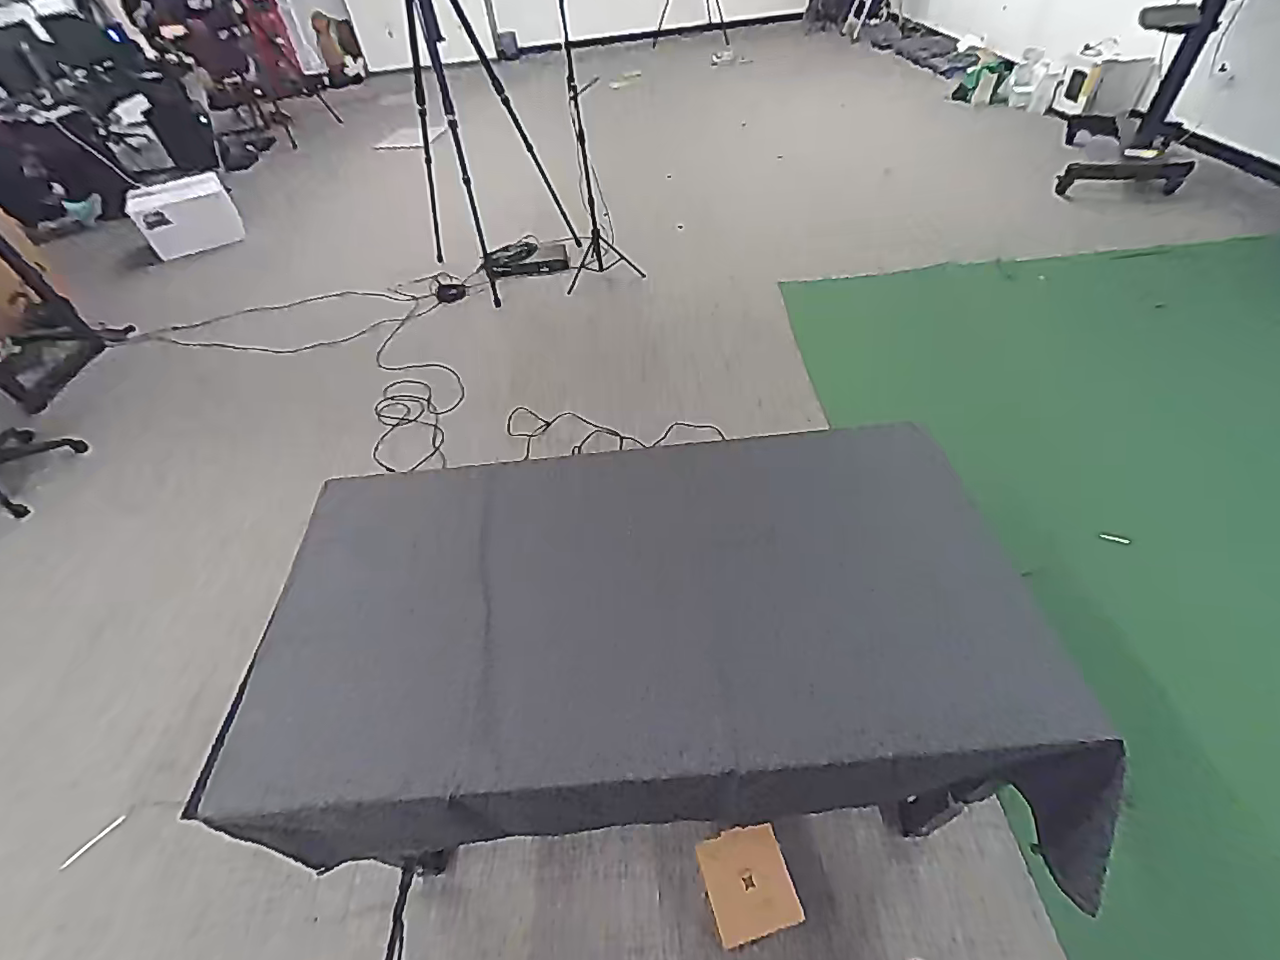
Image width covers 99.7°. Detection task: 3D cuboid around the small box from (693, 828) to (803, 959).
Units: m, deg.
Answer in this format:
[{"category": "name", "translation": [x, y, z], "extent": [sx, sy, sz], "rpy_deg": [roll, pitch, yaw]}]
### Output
[{"category": "small box", "translation": [0.211, 0.855, 1.111], "extent": [0.168, 0.176, 0.179], "rpy_deg": [-14, 47, -7]}]
